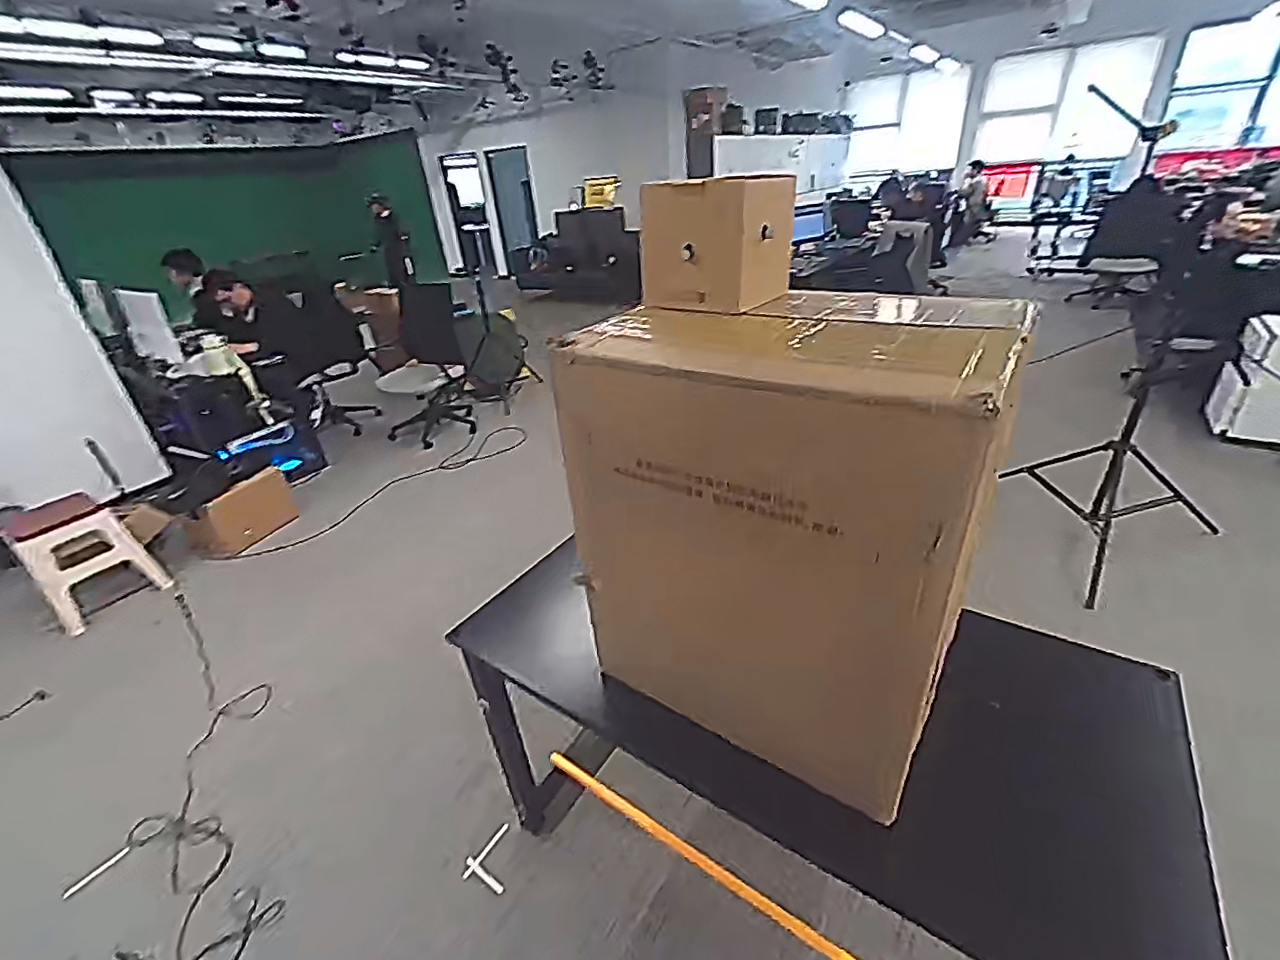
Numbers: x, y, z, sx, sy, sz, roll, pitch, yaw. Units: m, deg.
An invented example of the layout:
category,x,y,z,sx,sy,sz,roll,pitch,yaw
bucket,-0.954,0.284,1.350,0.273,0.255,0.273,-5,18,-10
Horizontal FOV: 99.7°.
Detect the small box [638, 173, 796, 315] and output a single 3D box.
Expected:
category,x,y,z,sx,sy,sz,roll,pitch,yaw
small box,0.117,-0.349,0.800,0.168,0.176,0.179,17,35,31
